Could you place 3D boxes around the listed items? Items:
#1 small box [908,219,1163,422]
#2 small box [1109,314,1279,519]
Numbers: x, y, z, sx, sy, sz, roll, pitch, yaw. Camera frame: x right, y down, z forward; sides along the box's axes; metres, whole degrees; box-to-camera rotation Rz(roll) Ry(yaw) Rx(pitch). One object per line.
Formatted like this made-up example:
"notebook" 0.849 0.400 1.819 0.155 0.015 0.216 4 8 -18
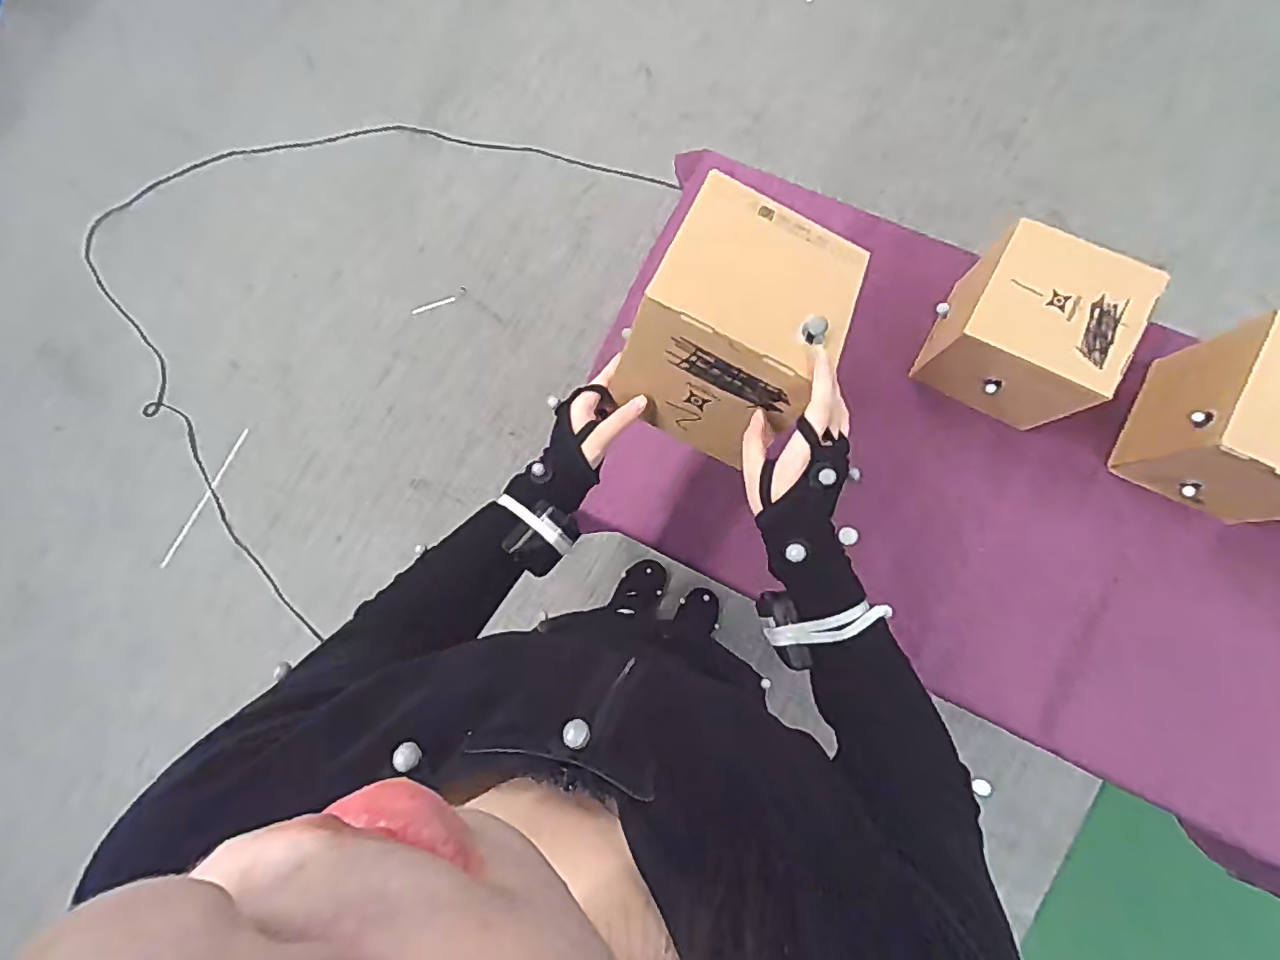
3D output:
"small box" 0.491 -0.190 0.702 0.179 0.176 0.168 29 86 9
"small box" 0.741 -0.065 0.663 0.168 0.176 0.179 27 87 8
